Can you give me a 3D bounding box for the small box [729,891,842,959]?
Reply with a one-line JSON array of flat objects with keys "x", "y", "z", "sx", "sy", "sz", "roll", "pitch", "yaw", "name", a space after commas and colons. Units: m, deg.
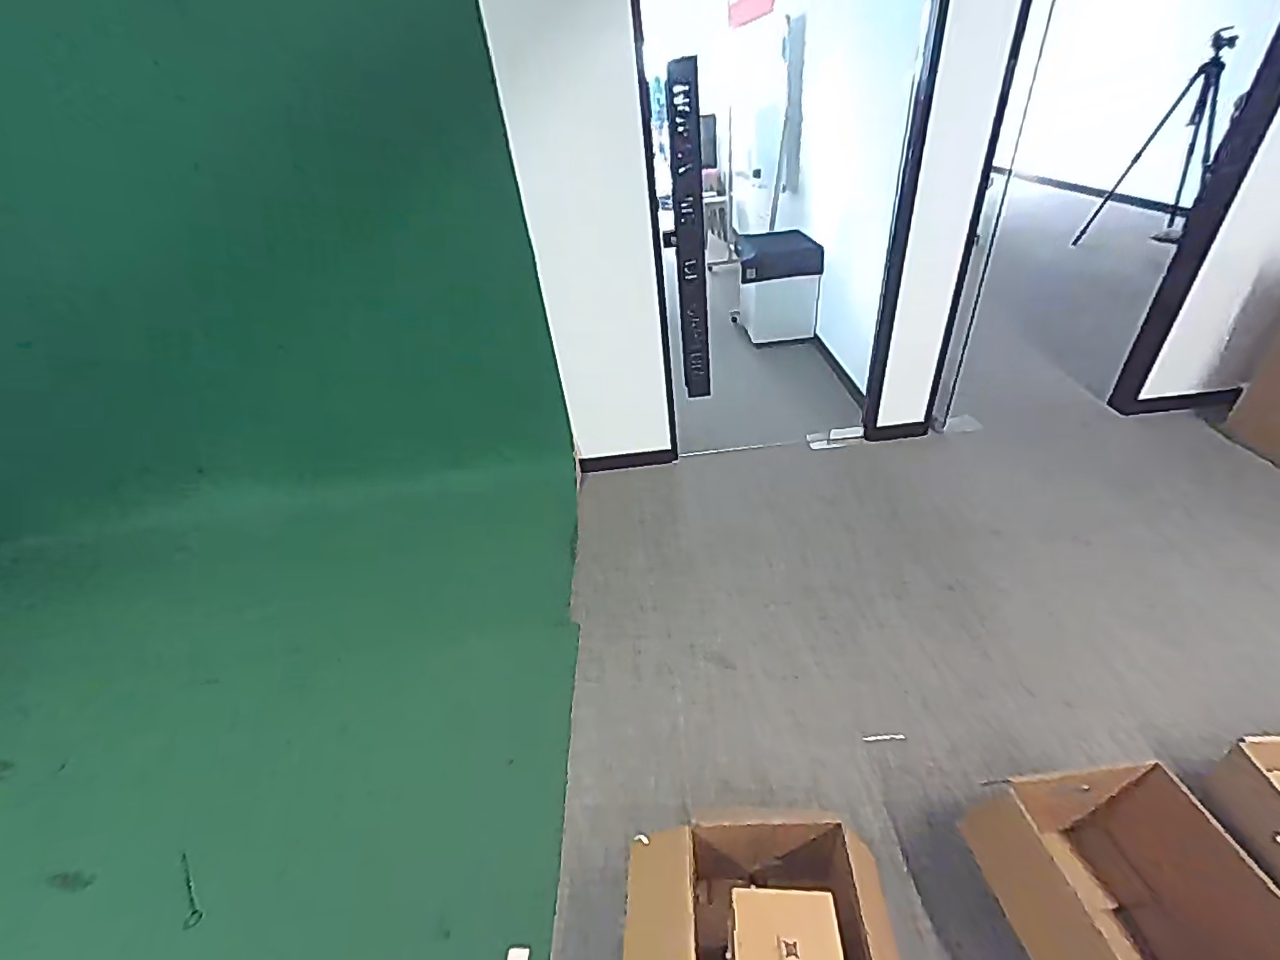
[{"x": 0.249, "y": 0.843, "z": 0.935, "sx": 0.179, "sy": 0.176, "sz": 0.168, "roll": -2, "pitch": 35, "yaw": 6, "name": "small box"}]
